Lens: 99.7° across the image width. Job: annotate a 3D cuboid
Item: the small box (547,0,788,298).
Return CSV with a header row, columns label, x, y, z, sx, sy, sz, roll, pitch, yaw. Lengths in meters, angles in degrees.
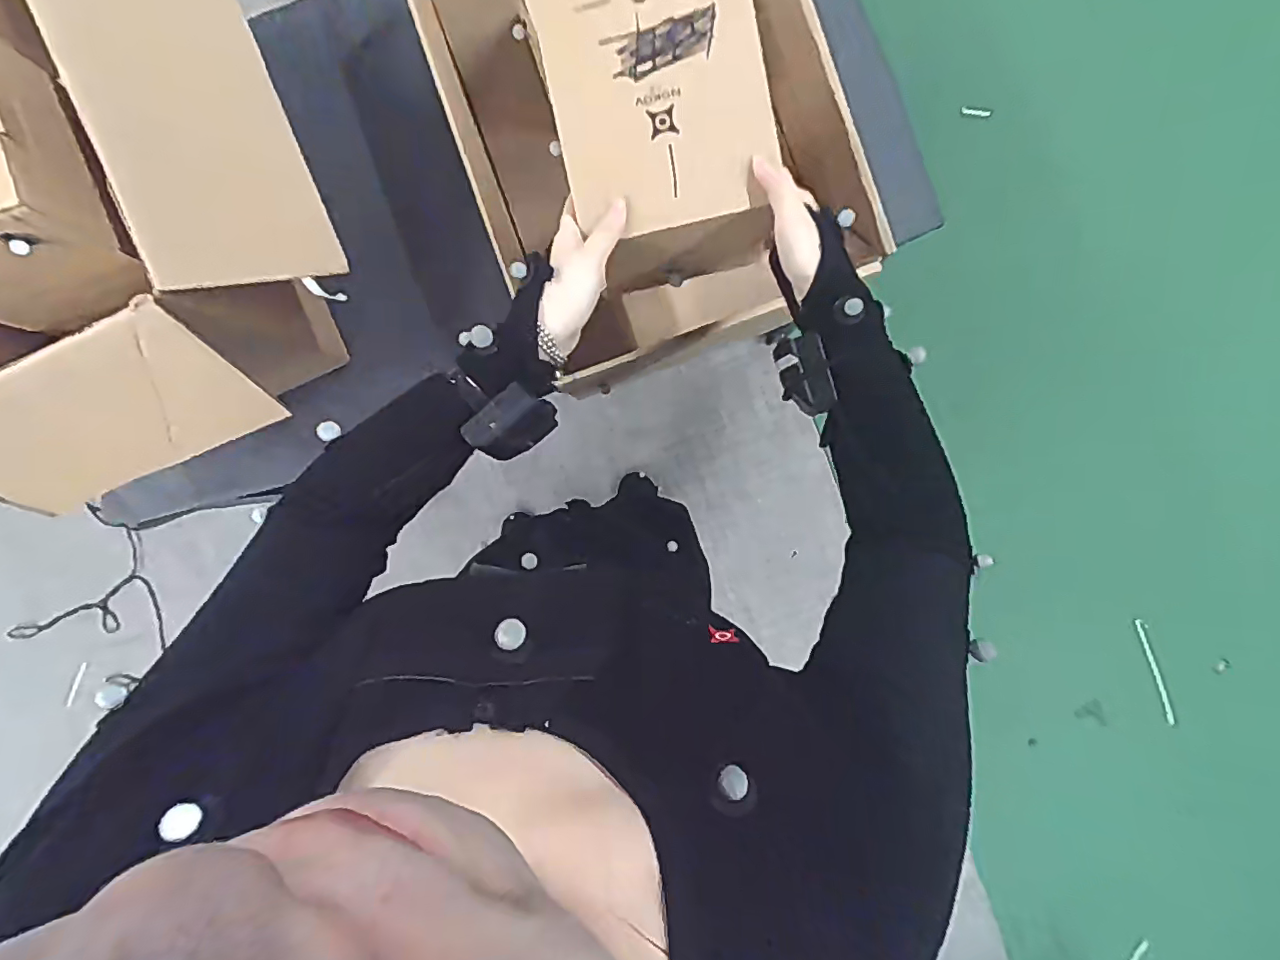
label,x,y,z,sx,sy,sz,roll,pitch,yaw
small box,0.024,-0.290,0.503,0.168,0.176,0.179,-11,95,3
